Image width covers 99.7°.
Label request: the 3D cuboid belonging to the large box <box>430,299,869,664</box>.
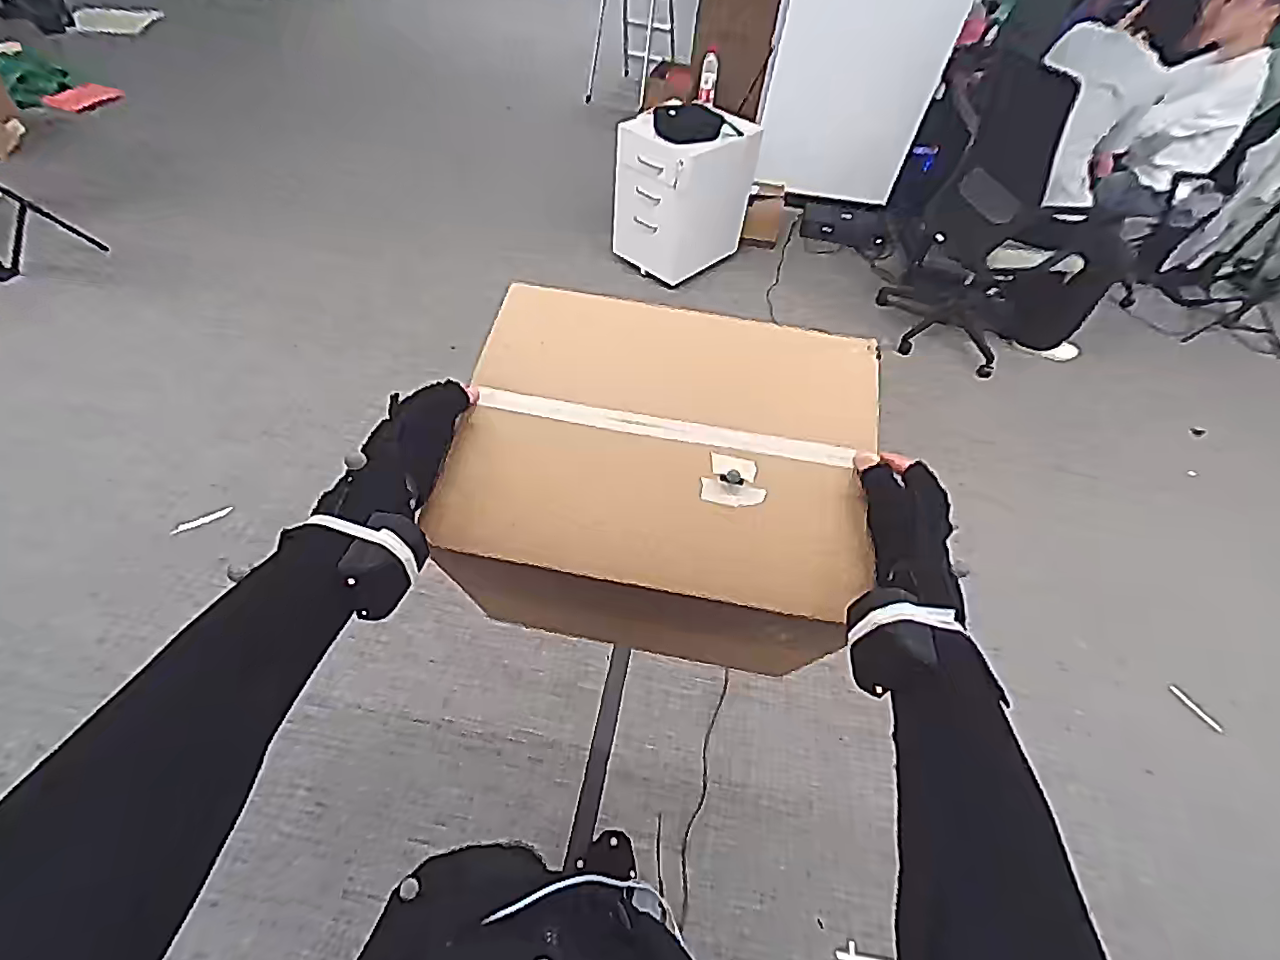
[{"bbox_3d":[0.020,0.021,0.676,0.408,0.320,0.320,10,64,2],"label":"large box"}]
